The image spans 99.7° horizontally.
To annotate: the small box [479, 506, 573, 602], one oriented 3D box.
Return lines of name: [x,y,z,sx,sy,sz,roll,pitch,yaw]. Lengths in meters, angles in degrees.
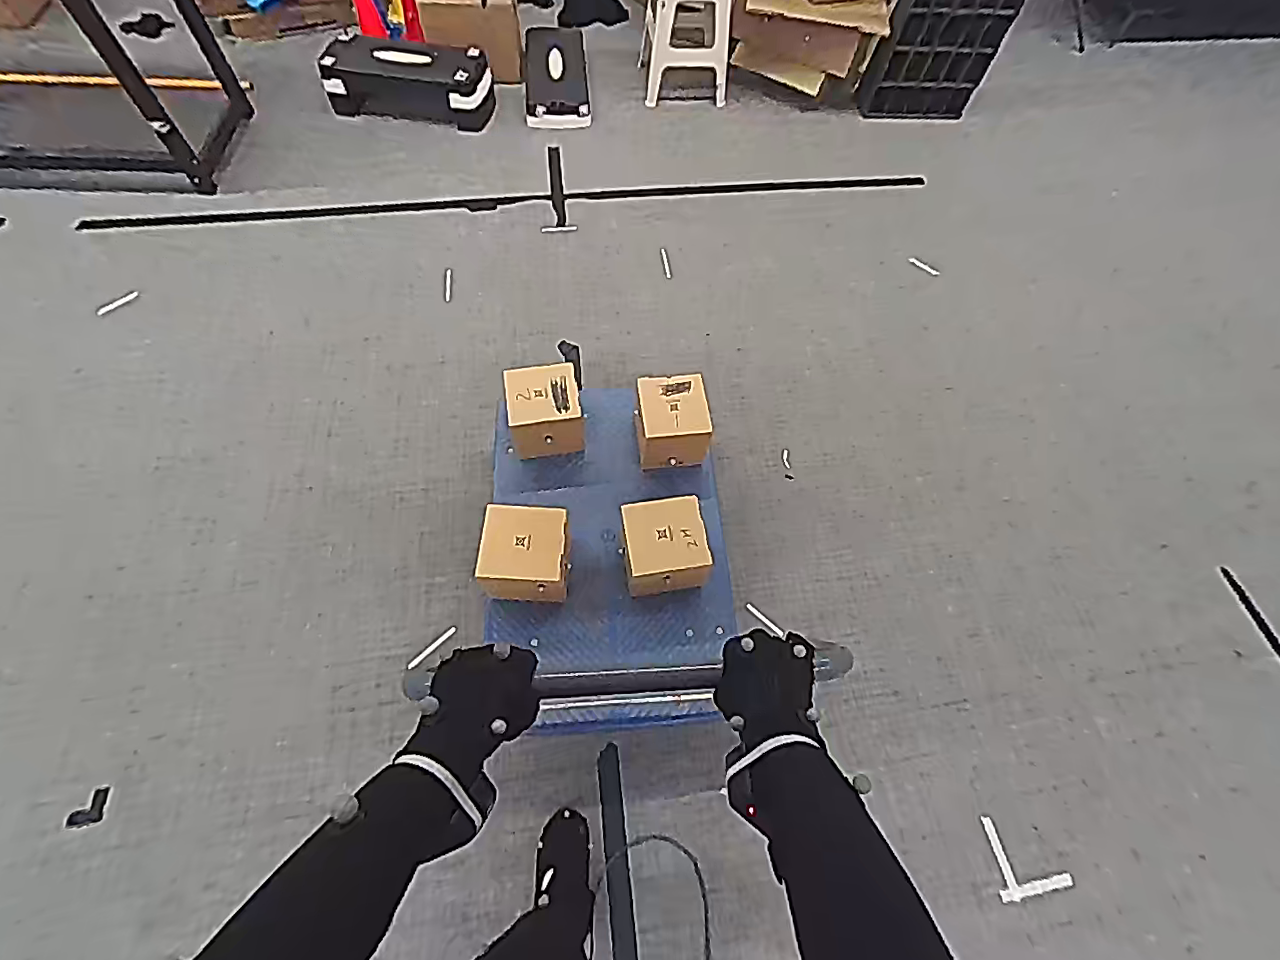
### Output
small box: [-0.249,0.172,1.221,0.179,0.176,0.168,4,62,-3]

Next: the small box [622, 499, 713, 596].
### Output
small box: [0.055,0.160,1.245,0.179,0.176,0.168,-7,64,-7]

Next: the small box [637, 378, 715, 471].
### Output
small box: [0.085,-0.141,1.397,0.168,0.176,0.179,-5,65,-6]
